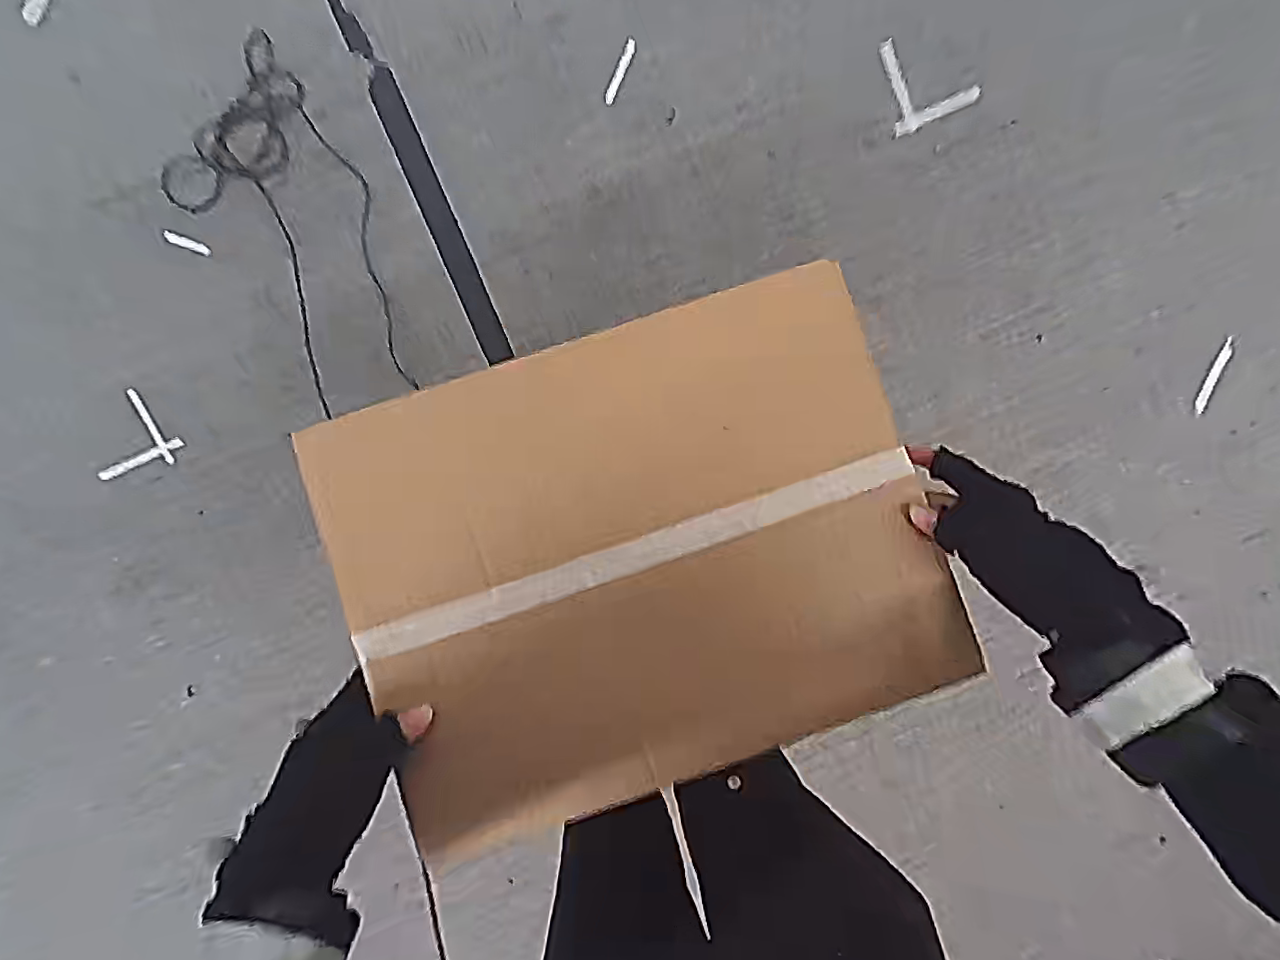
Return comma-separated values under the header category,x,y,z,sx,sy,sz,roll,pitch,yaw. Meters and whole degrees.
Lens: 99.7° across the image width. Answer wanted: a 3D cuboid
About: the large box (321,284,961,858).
category,x,y,z,sx,sy,sz,roll,pitch,yaw
large box,0.000,0.067,0.542,0.408,0.320,0.320,-19,86,-1
